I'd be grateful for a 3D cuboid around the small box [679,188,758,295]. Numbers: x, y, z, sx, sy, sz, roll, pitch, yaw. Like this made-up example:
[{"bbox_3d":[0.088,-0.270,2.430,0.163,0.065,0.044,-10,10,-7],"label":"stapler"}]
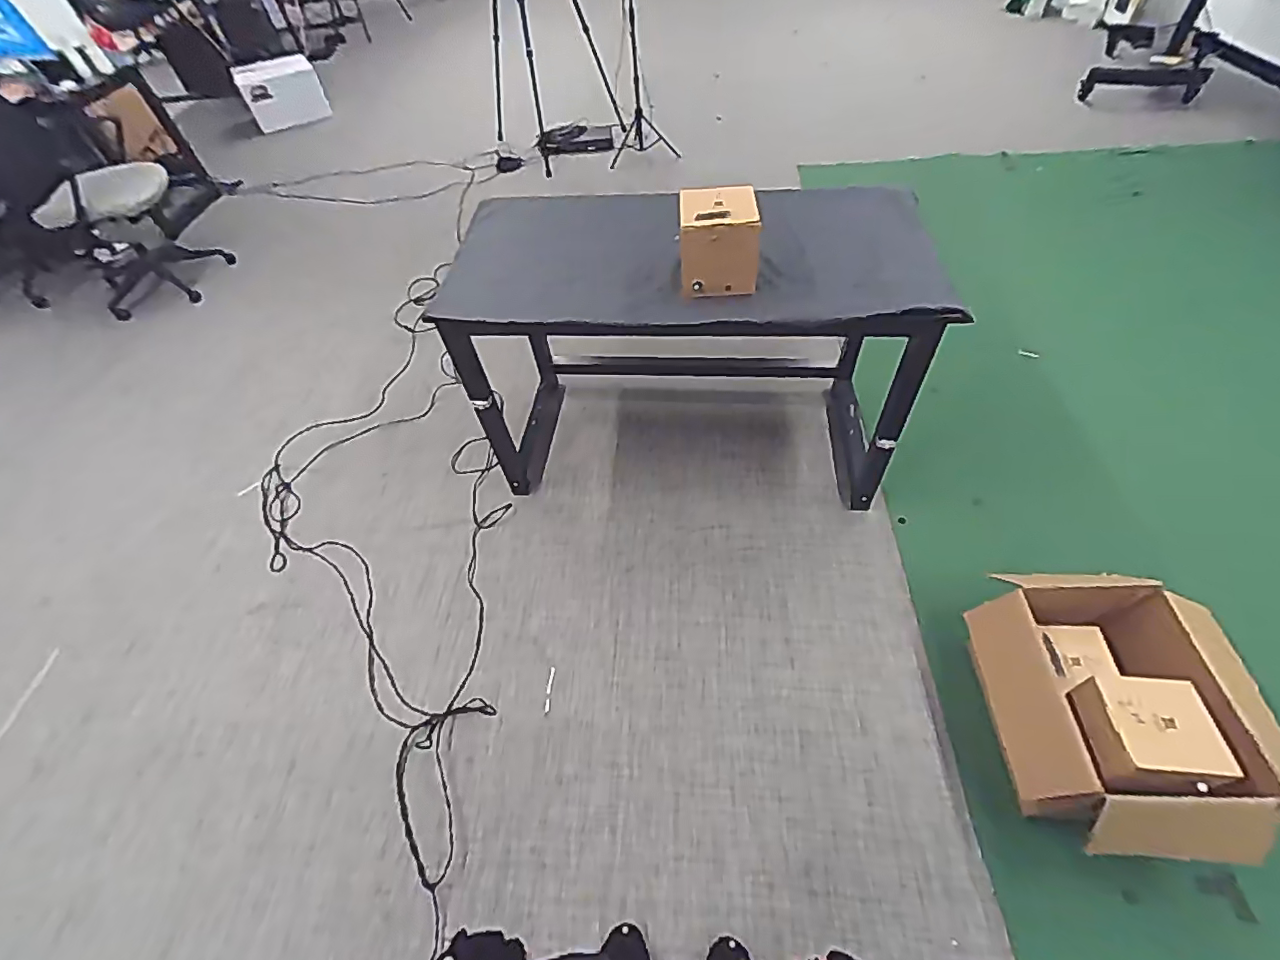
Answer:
[{"bbox_3d":[0.175,-0.538,1.234,0.168,0.176,0.179,-1,50,5],"label":"small box"}]
